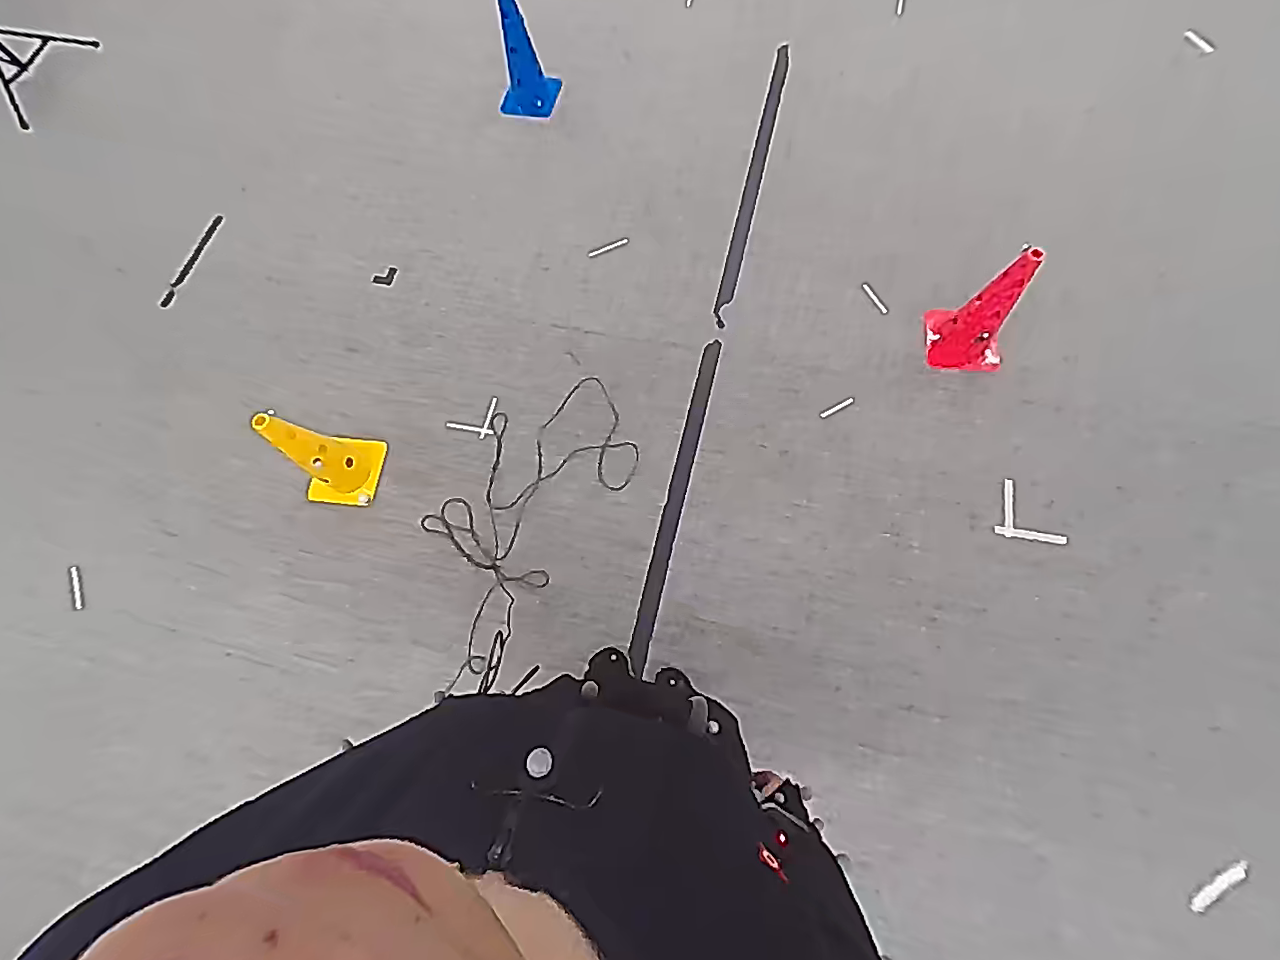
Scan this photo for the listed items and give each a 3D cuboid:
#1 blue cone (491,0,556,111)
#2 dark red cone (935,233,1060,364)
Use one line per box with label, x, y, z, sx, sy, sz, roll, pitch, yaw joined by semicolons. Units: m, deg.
blue cone;-0.429;-1.491;1.849;0.192;0.380;0.193;12;73;9
dark red cone;0.926;-0.472;1.374;0.201;0.394;0.202;4;72;7
